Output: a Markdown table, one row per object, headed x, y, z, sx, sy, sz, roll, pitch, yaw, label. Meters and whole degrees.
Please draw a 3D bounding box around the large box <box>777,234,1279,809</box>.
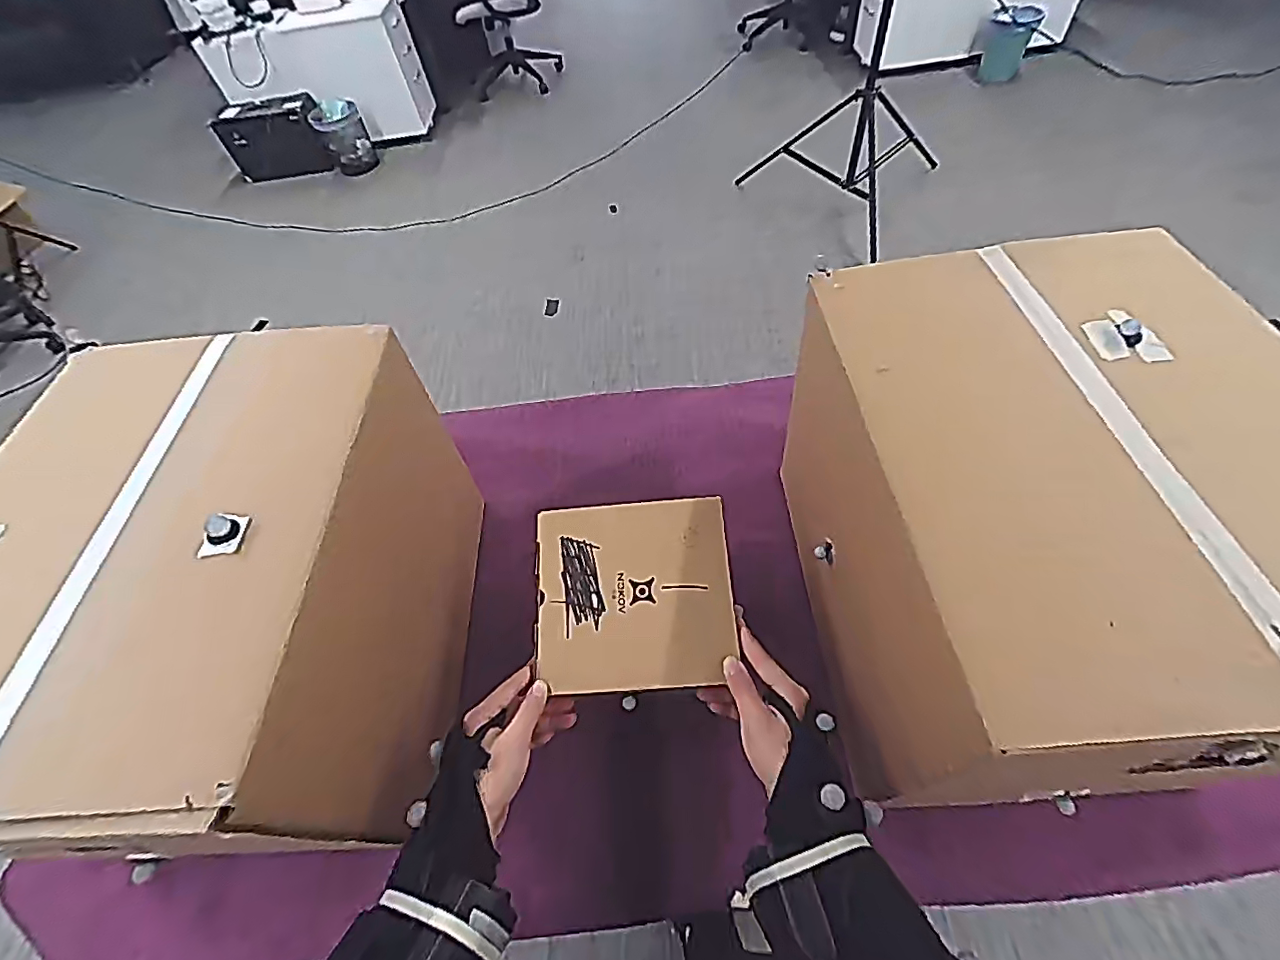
| x | y | z | sx | sy | sz | roll | pitch | yaw | label |
| --- | --- | --- | --- | --- | --- | --- | --- | --- | --- |
| 0.331 | 0.041 | 0.496 | 0.320 | 0.320 | 0.408 | -6 | 53 | 2 | large box |
